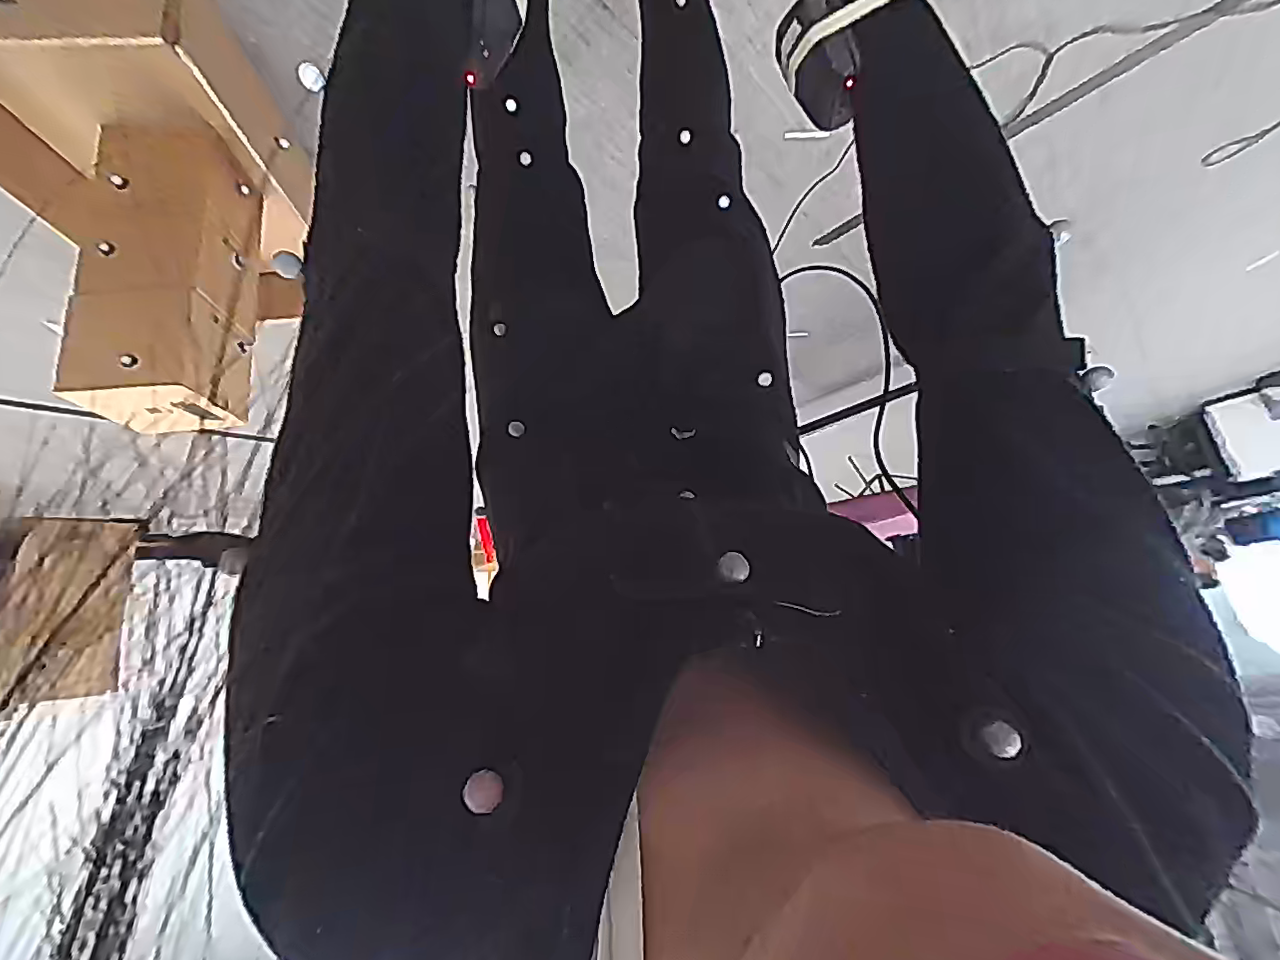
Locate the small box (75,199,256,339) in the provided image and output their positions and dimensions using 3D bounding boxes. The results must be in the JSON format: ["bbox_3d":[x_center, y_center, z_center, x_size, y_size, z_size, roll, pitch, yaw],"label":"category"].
[{"bbox_3d":[-0.795,-0.354,0.929,0.179,0.176,0.168,-7,165,-9],"label":"small box"}]

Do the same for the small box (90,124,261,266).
[{"bbox_3d":[-0.819,-0.508,0.974,0.179,0.176,0.168,-6,164,-10],"label":"small box"}]

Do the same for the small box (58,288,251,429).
[{"bbox_3d":[-0.776,-0.197,0.885,0.179,0.176,0.168,-6,164,-7],"label":"small box"}]
